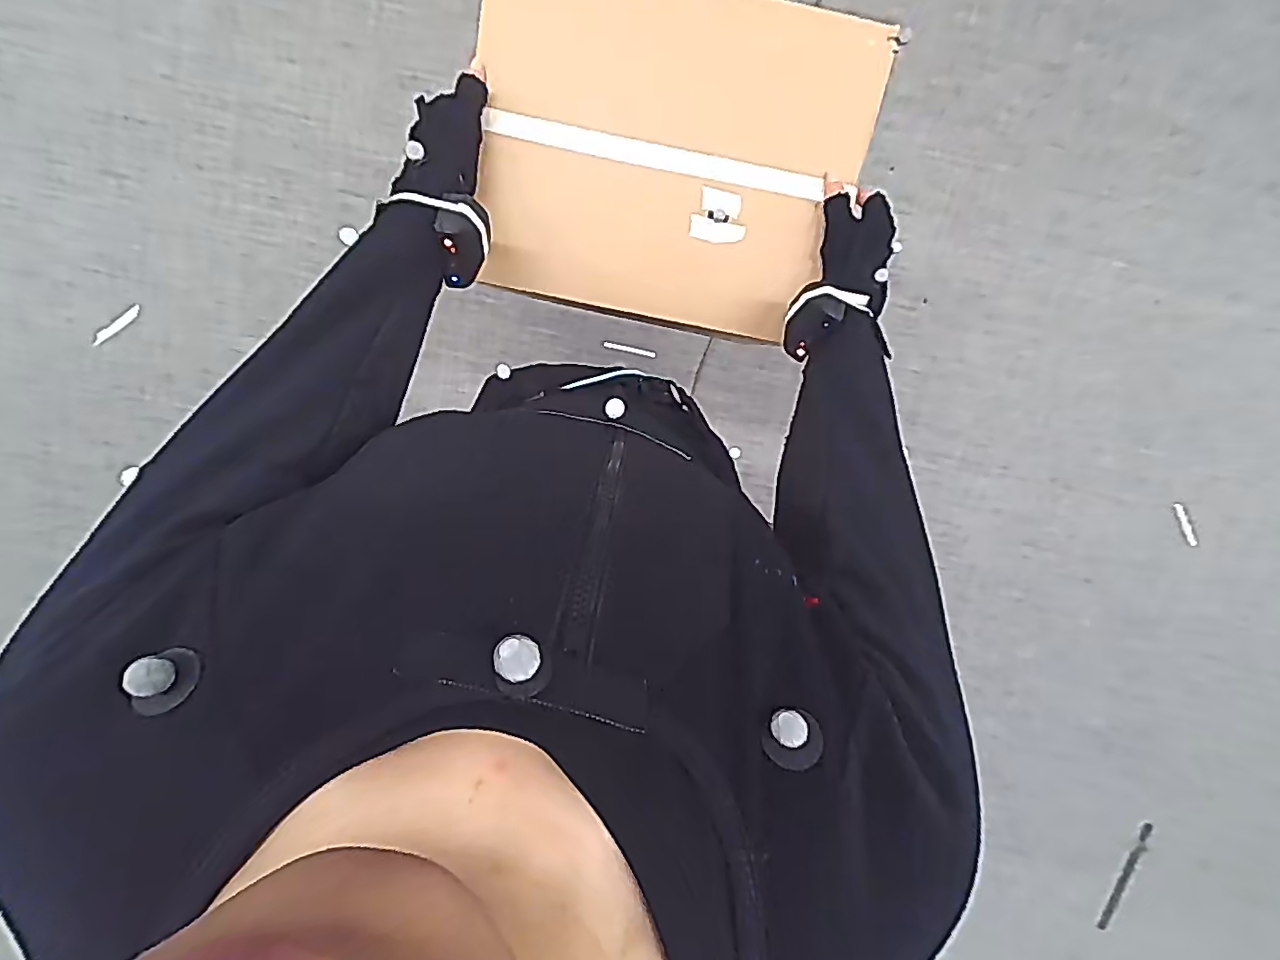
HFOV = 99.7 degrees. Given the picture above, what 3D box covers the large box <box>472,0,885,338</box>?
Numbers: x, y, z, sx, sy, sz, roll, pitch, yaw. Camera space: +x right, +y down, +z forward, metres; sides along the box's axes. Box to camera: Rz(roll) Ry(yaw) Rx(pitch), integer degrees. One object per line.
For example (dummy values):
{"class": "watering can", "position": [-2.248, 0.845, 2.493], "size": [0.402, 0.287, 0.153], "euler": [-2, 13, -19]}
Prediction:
{"class": "large box", "position": [0.027, -0.380, 0.721], "size": [0.408, 0.320, 0.320], "euler": [10, 106, -4]}
